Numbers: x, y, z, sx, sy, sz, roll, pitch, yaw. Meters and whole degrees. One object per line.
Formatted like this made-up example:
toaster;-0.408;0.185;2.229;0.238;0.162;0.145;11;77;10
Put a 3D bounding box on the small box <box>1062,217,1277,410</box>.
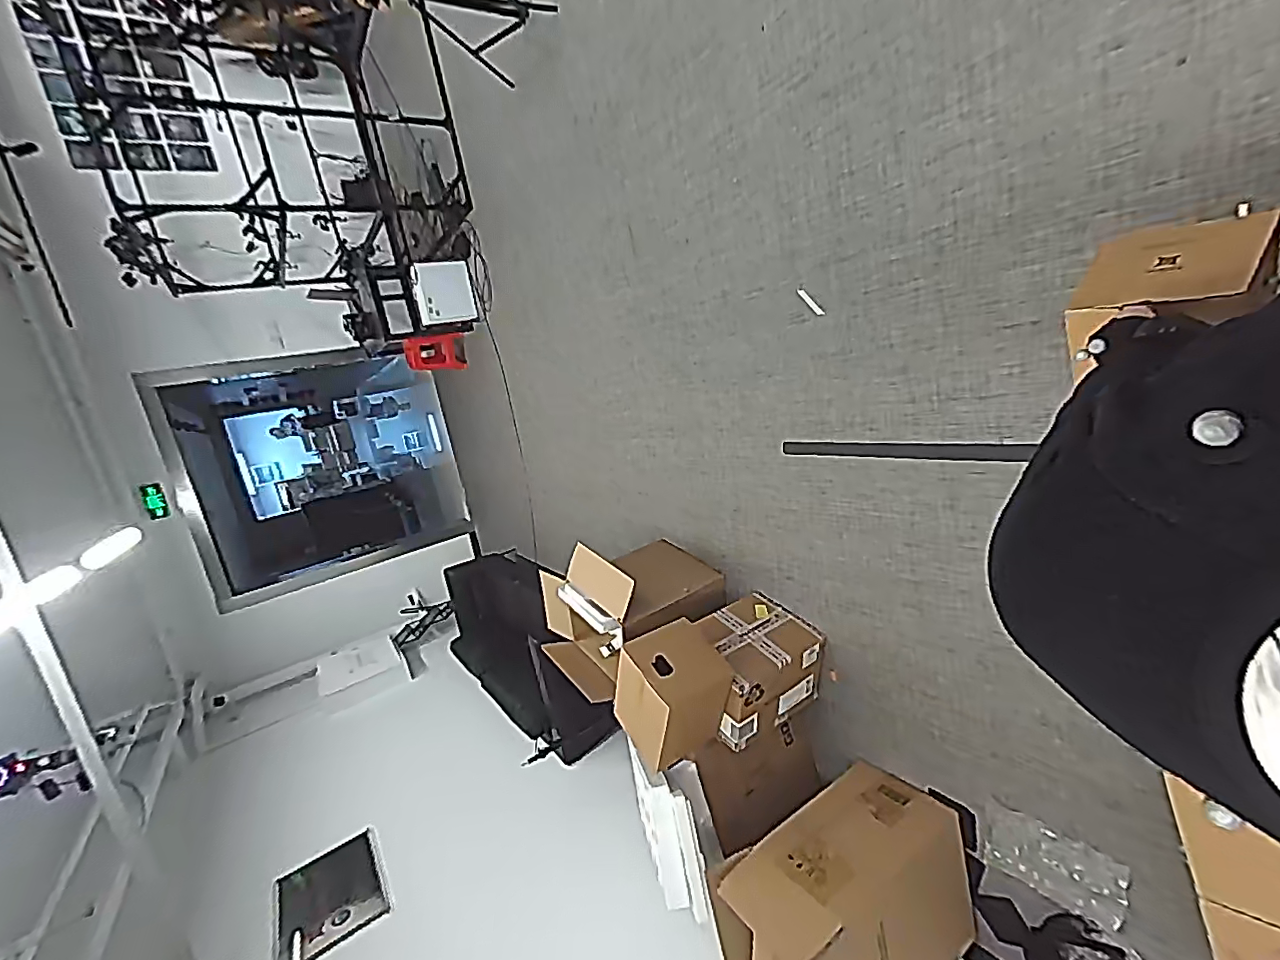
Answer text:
small box;0.703;-0.210;0.723;0.168;0.179;0.176;15;147;52
